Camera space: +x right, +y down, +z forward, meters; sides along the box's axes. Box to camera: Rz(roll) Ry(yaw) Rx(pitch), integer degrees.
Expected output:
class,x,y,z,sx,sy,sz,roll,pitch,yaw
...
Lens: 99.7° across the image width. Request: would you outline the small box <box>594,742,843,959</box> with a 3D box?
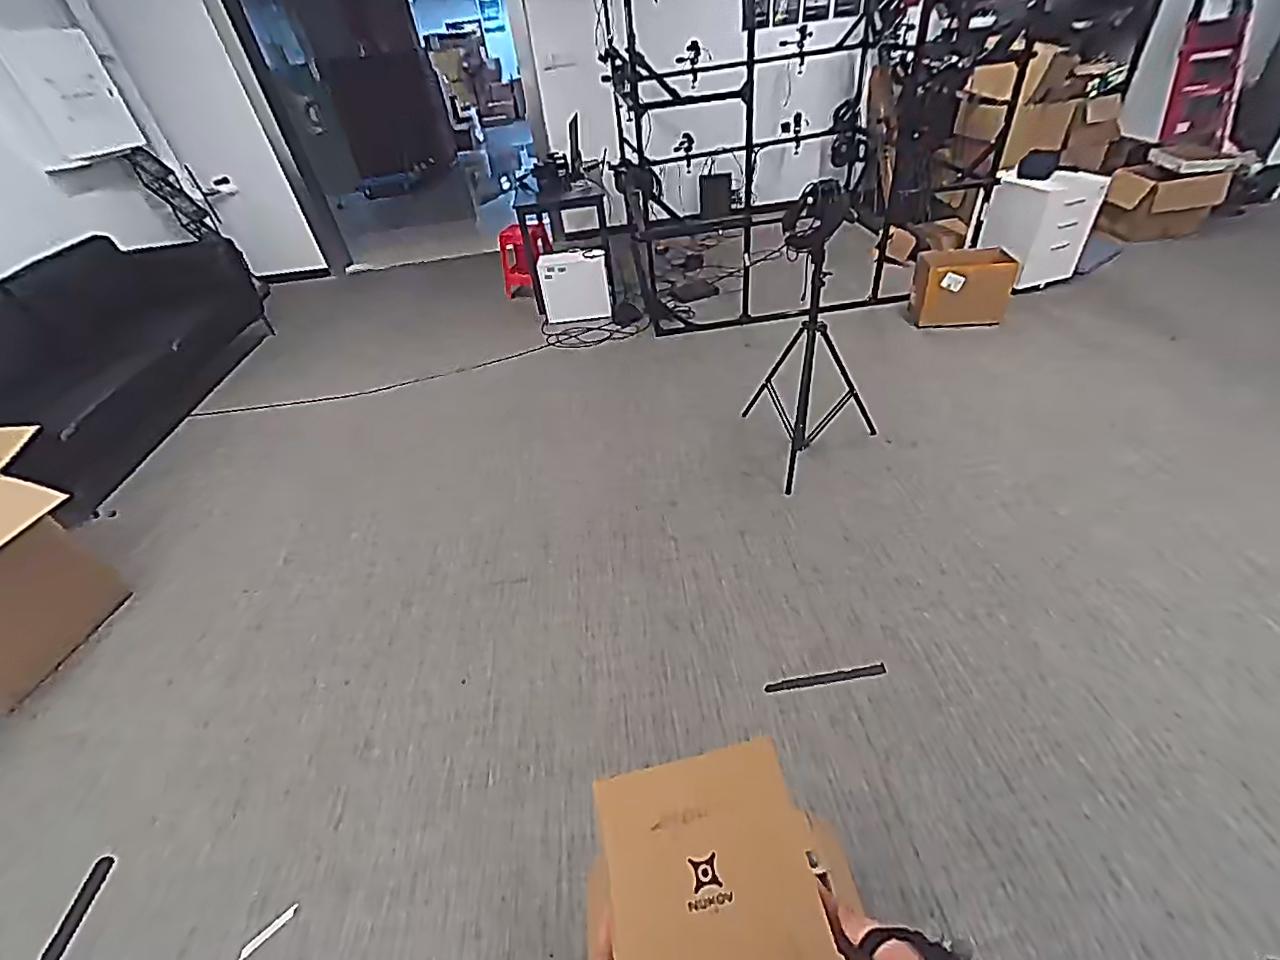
class,x,y,z,sx,sy,sz,roll,pitch,yaw
small box,0.065,0.362,0.485,0.168,0.176,0.179,-14,52,-2
